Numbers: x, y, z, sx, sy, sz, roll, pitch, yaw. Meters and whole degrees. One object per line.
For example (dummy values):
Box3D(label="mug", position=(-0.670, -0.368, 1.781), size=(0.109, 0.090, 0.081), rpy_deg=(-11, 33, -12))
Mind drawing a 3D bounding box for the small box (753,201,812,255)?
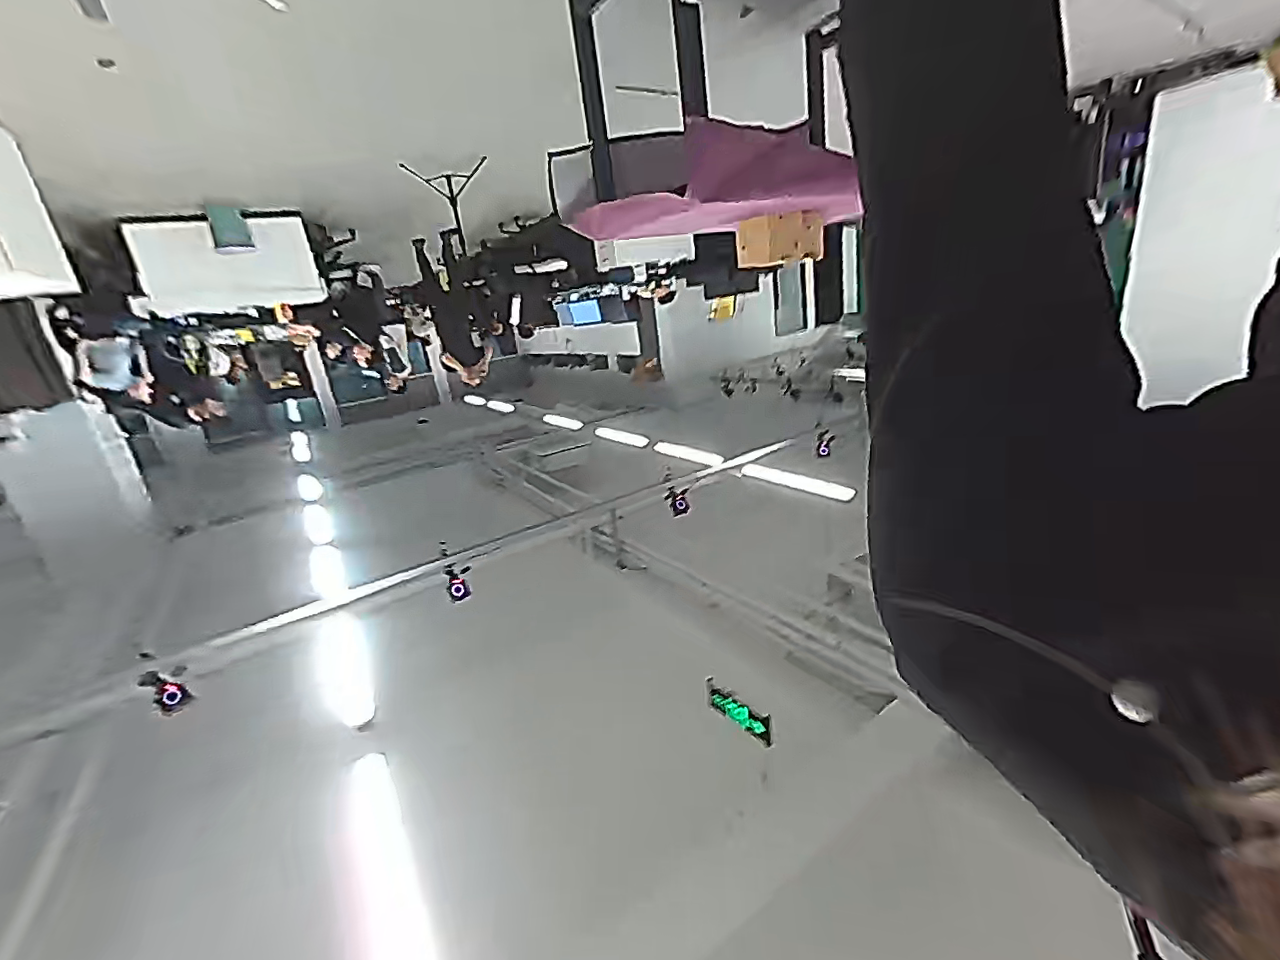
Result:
Box3D(label="small box", position=(0.570, -1.014, 2.177), size=(0.168, 0.176, 0.179), rpy_deg=(-21, -159, -28))
